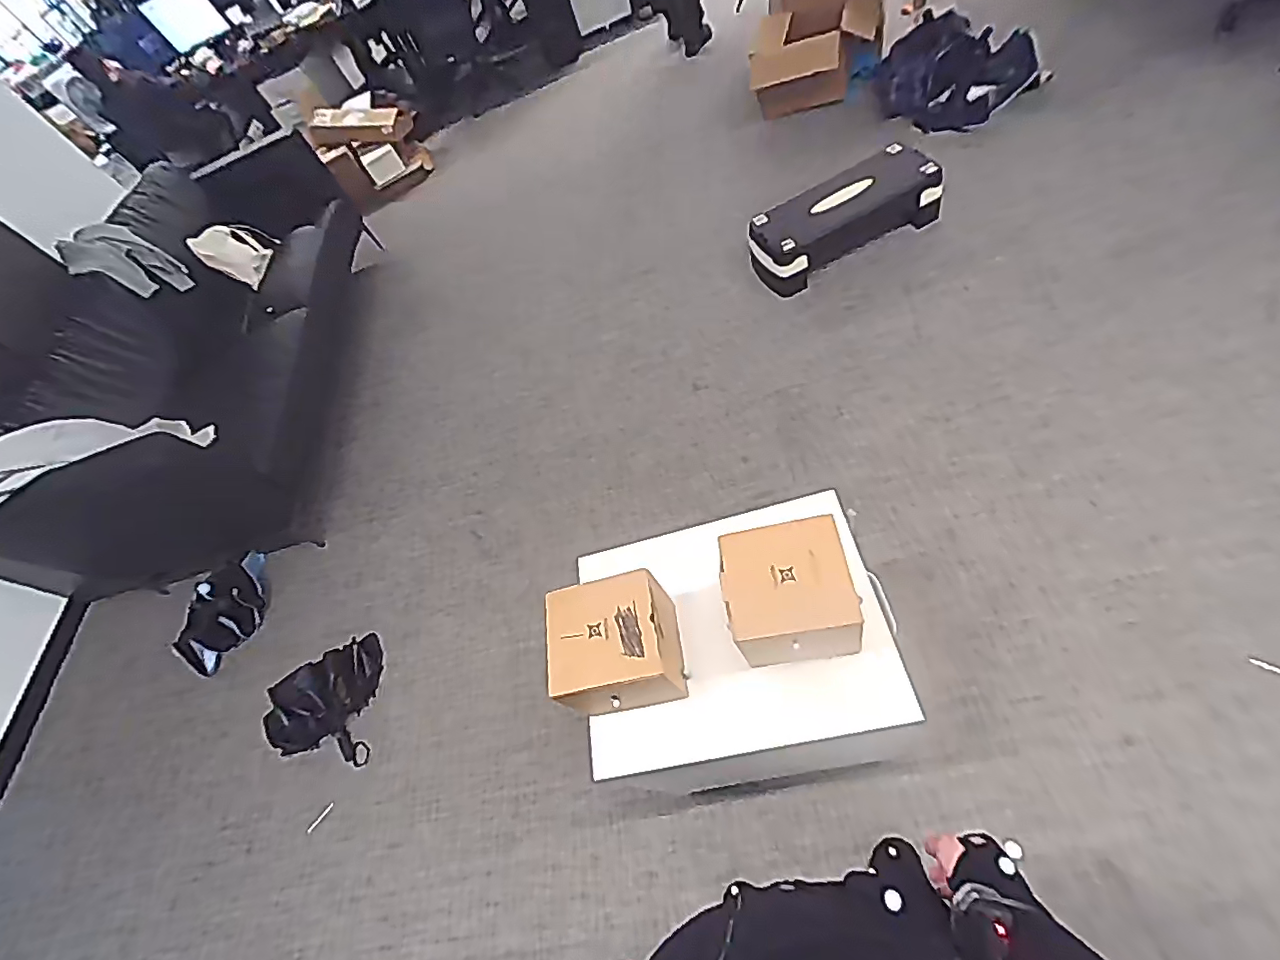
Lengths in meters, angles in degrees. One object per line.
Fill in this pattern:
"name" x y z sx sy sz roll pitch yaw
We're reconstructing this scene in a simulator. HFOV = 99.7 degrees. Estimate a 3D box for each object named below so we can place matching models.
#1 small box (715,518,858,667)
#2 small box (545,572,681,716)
"small box" 0.226 0.181 0.834 0.179 0.176 0.168 -13 57 13
"small box" -0.038 0.271 0.874 0.179 0.176 0.168 -16 54 11
